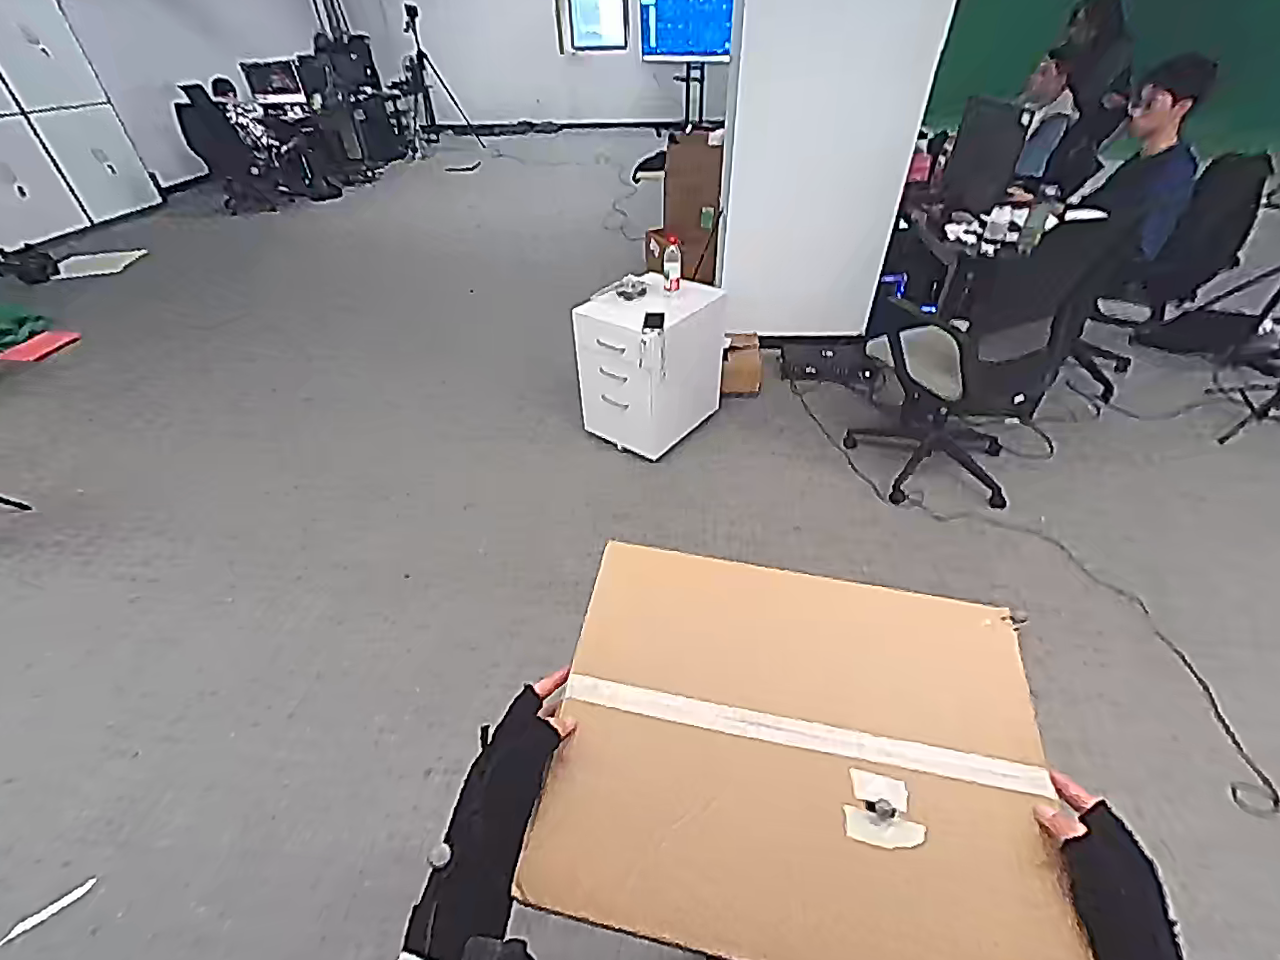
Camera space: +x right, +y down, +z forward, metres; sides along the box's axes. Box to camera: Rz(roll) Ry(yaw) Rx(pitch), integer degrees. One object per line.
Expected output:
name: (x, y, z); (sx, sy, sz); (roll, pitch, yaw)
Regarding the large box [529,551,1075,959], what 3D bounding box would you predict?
large box: (0.134, 0.313, 0.593); (0.408, 0.320, 0.320); (9, 53, 7)
